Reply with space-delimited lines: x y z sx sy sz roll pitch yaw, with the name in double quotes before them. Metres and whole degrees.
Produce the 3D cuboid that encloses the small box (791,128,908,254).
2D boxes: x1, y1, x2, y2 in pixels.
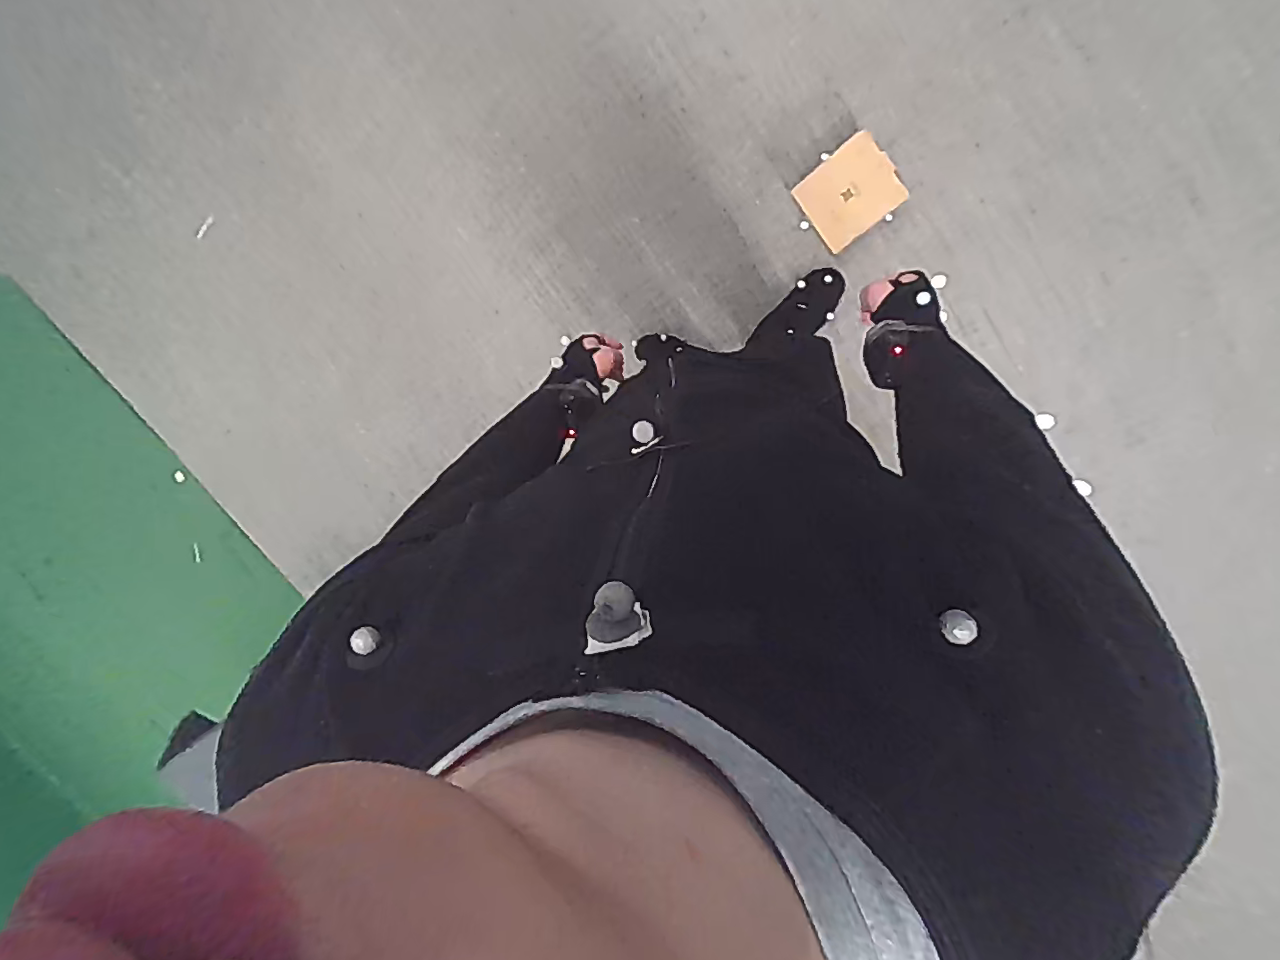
"small box" 0.451 -0.623 1.186 0.179 0.176 0.168 -35 98 27
